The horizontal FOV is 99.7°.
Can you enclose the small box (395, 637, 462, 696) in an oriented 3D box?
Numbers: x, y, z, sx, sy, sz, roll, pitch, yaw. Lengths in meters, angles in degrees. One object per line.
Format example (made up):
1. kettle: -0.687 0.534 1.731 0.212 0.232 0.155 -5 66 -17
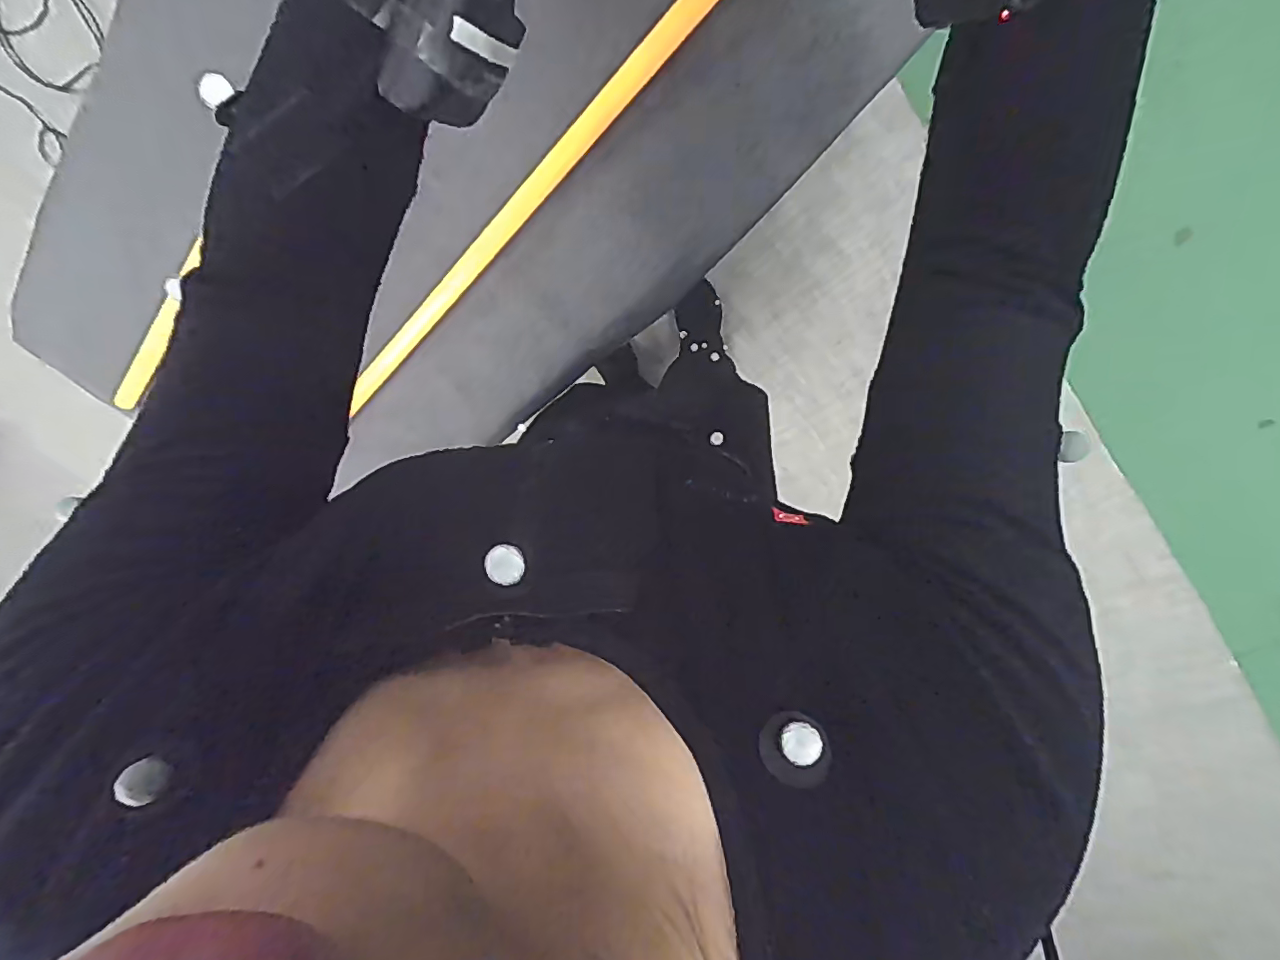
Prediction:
1. small box: -0.823 0.748 2.108 0.168 0.176 0.179 44 119 -14
